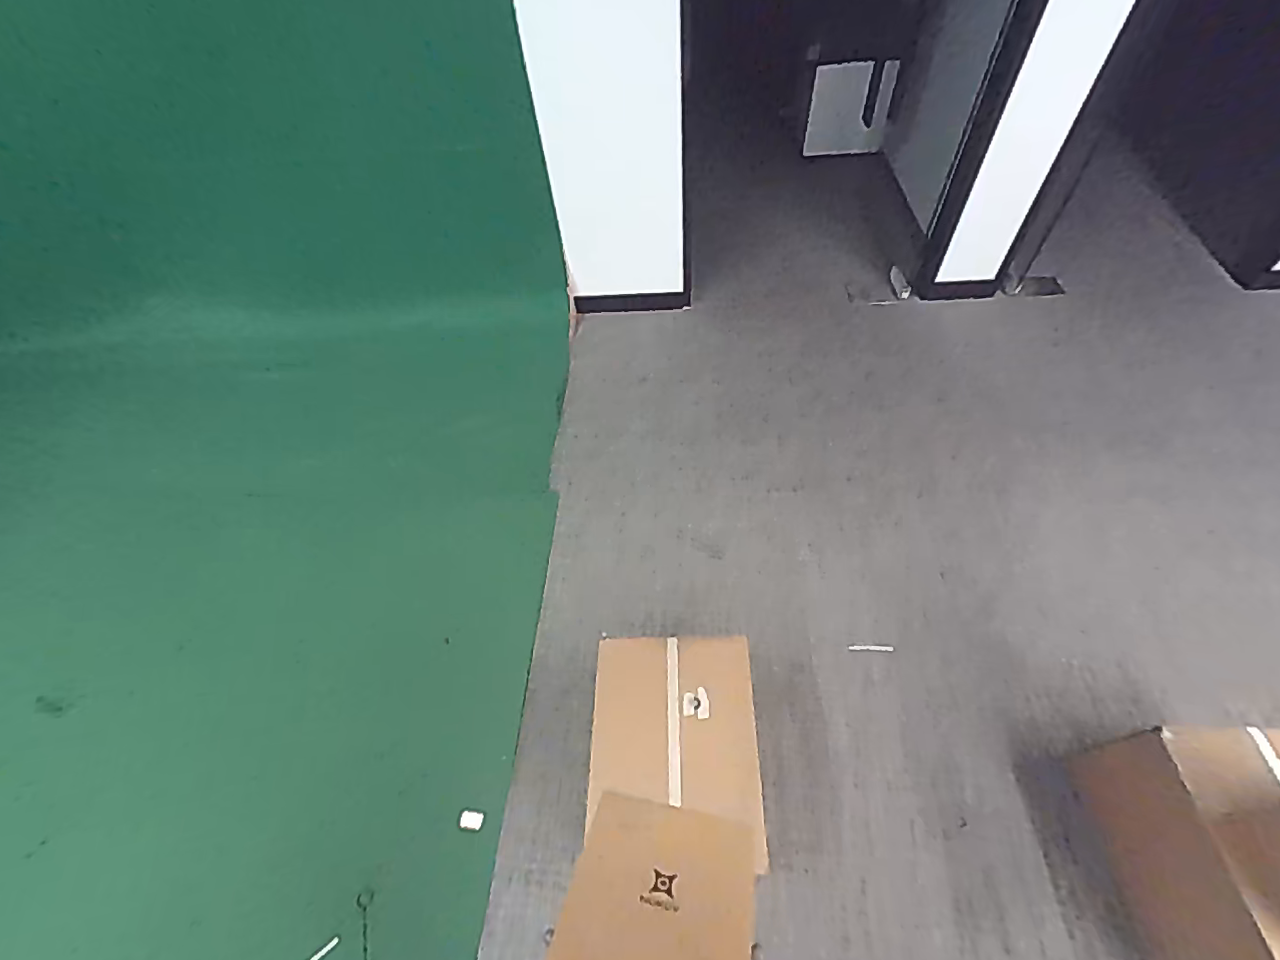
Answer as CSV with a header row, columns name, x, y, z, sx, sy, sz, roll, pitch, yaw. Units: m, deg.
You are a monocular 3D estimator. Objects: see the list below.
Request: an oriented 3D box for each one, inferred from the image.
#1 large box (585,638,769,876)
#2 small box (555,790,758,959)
name,x,y,z,sx,sy,sz,roll,pitch,yaw
large box,0.078,0.585,1.131,0.320,0.320,0.408,-2,52,5
small box,0.020,0.457,0.532,0.168,0.176,0.179,7,19,11
